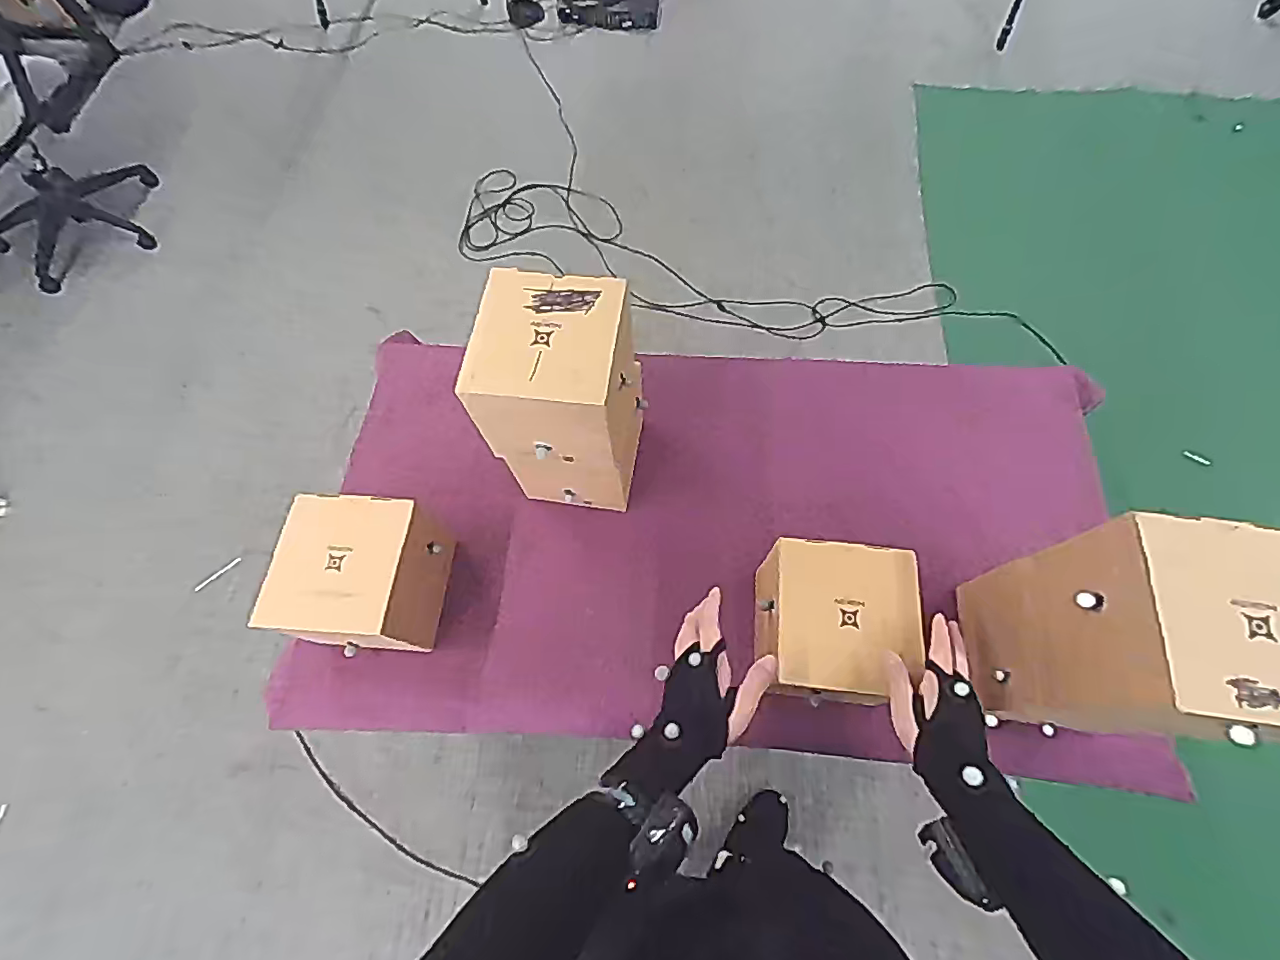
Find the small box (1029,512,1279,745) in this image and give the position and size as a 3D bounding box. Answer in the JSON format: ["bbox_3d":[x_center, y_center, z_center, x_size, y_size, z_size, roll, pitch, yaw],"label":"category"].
[{"bbox_3d":[0.520,0.150,0.529,0.168,0.176,0.179,7,66,7],"label":"small box"}]

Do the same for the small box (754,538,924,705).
[{"bbox_3d":[0.245,0.191,0.705,0.168,0.176,0.179,5,65,5],"label":"small box"}]

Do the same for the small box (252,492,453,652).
[{"bbox_3d":[-0.377,0.132,0.751,0.168,0.176,0.179,3,66,4],"label":"small box"}]

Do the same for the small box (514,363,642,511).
[{"bbox_3d":[-0.091,-0.071,0.829,0.168,0.176,0.179,8,68,6],"label":"small box"}]

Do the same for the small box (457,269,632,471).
[{"bbox_3d":[-0.103,-0.131,0.677,0.168,0.176,0.179,7,68,5],"label":"small box"}]
